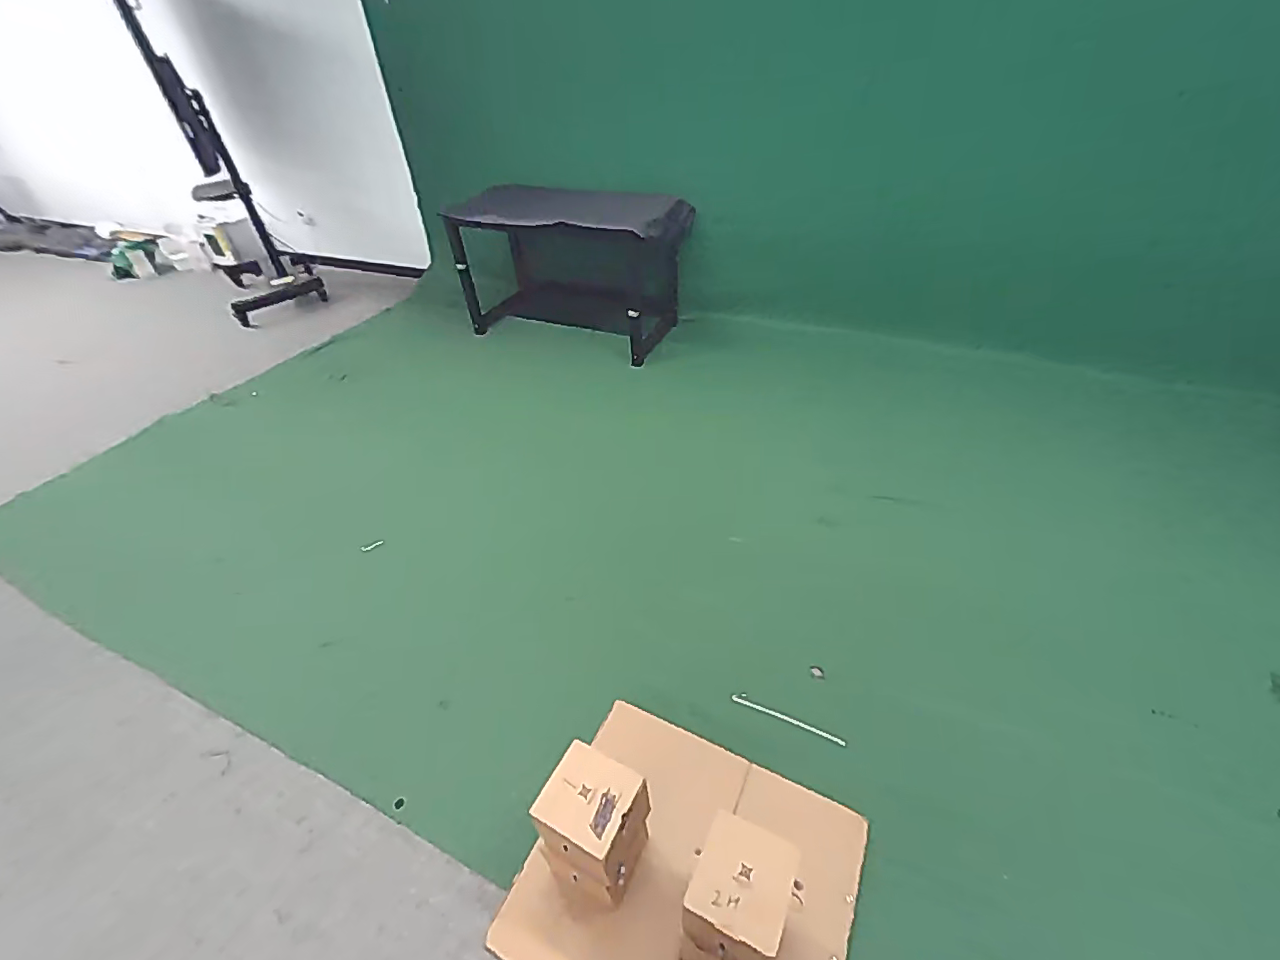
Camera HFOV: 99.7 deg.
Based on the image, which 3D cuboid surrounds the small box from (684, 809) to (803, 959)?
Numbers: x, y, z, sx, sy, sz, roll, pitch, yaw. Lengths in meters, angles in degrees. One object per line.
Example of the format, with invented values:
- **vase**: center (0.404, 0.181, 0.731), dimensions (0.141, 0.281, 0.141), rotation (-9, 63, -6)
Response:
- **small box**: center (0.188, 0.762, 1.000), dimensions (0.168, 0.176, 0.179), rotation (16, 44, 23)

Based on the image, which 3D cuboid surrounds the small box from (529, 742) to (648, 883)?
- **small box**: center (-0.095, 0.685, 1.110), dimensions (0.179, 0.176, 0.168), rotation (16, 44, 26)

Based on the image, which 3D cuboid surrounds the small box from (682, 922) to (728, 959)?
- **small box**: center (0.190, 0.897, 1.098), dimensions (0.168, 0.176, 0.179), rotation (15, 44, 21)
